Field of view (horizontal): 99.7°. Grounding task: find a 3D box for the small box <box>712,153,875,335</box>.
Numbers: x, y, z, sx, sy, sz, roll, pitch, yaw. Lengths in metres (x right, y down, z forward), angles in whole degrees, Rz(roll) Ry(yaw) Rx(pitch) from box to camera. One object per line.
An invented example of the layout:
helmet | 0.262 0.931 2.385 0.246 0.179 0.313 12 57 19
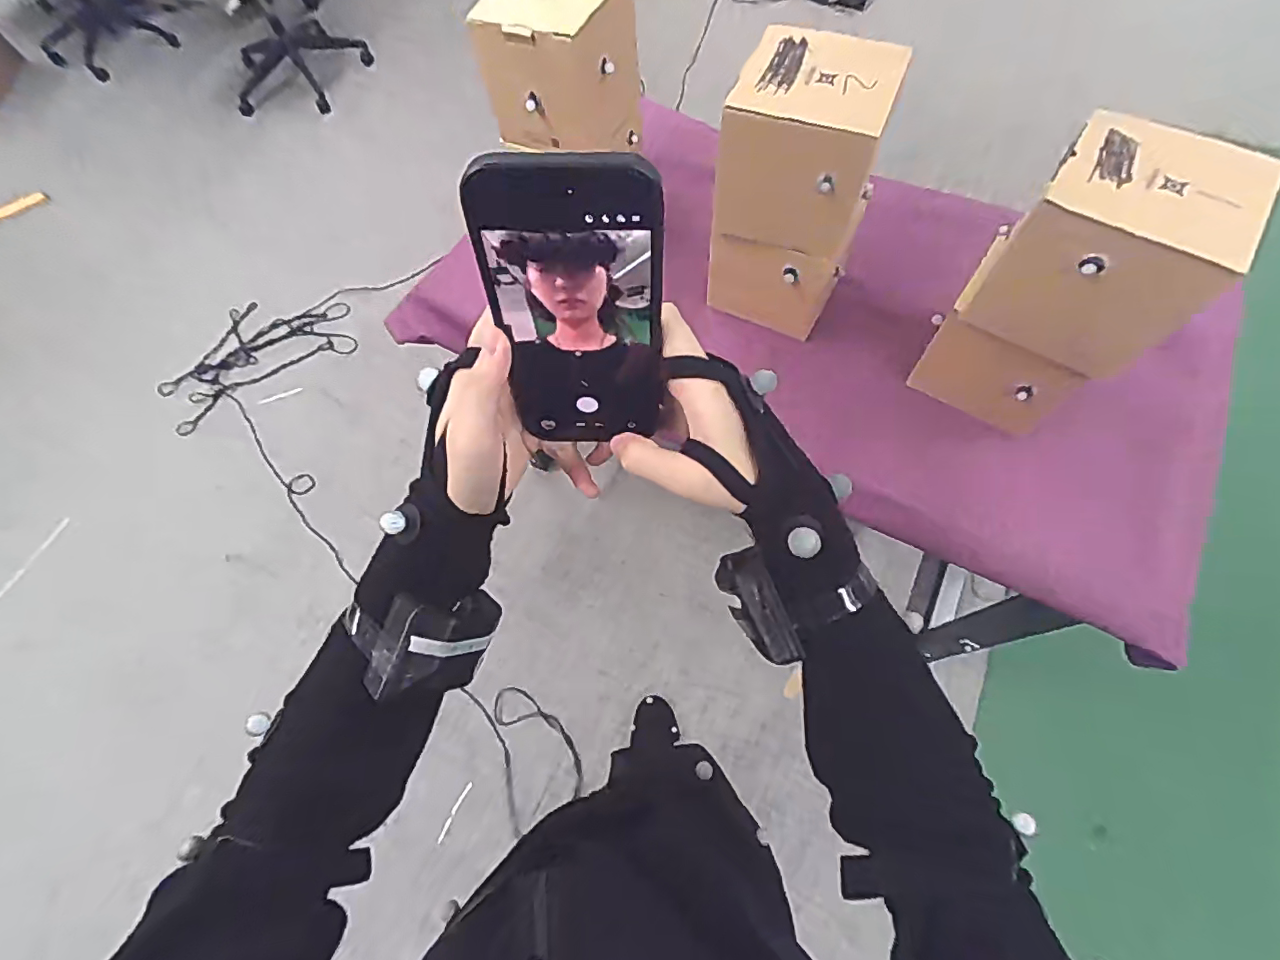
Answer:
small box | 0.224 -0.353 0.831 0.179 0.176 0.168 27 70 15

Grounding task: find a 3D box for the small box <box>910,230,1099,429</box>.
small box | 0.511 -0.193 0.738 0.179 0.176 0.168 33 72 18

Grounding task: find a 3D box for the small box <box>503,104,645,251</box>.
small box | -0.102 -0.538 0.943 0.168 0.176 0.179 27 71 16

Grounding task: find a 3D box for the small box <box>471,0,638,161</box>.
small box | -0.110 -0.612 0.796 0.168 0.176 0.179 22 70 13

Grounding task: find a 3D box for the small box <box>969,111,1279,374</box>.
small box | 0.499 -0.245 0.582 0.179 0.176 0.168 32 72 17
